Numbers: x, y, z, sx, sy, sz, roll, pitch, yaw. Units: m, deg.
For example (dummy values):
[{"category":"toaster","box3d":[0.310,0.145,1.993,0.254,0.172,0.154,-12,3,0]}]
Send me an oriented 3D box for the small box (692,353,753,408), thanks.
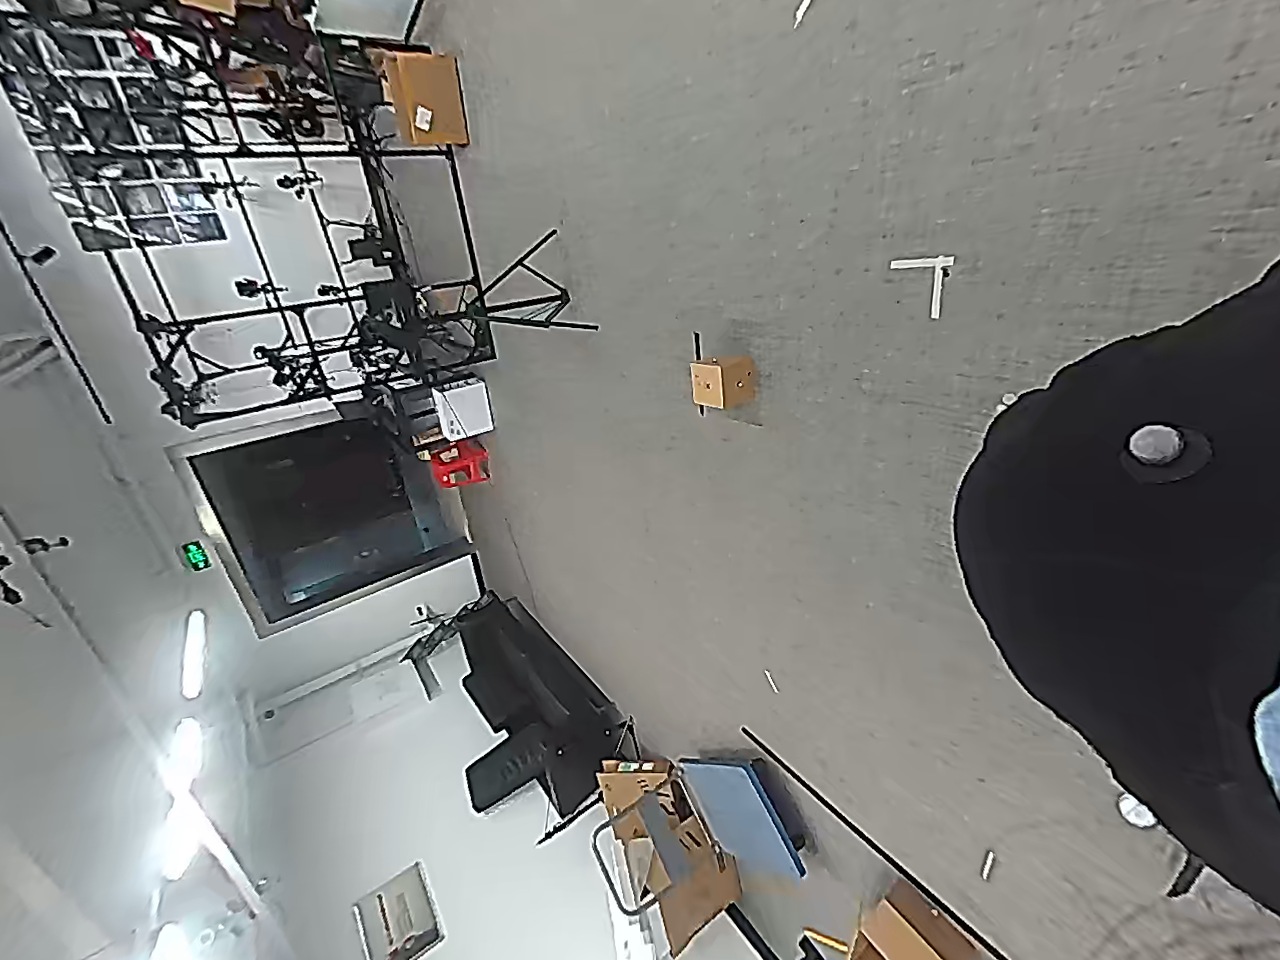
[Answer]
[{"category":"small box","box3d":[0.326,-0.393,2.105,0.179,0.176,0.168,25,129,51]}]
